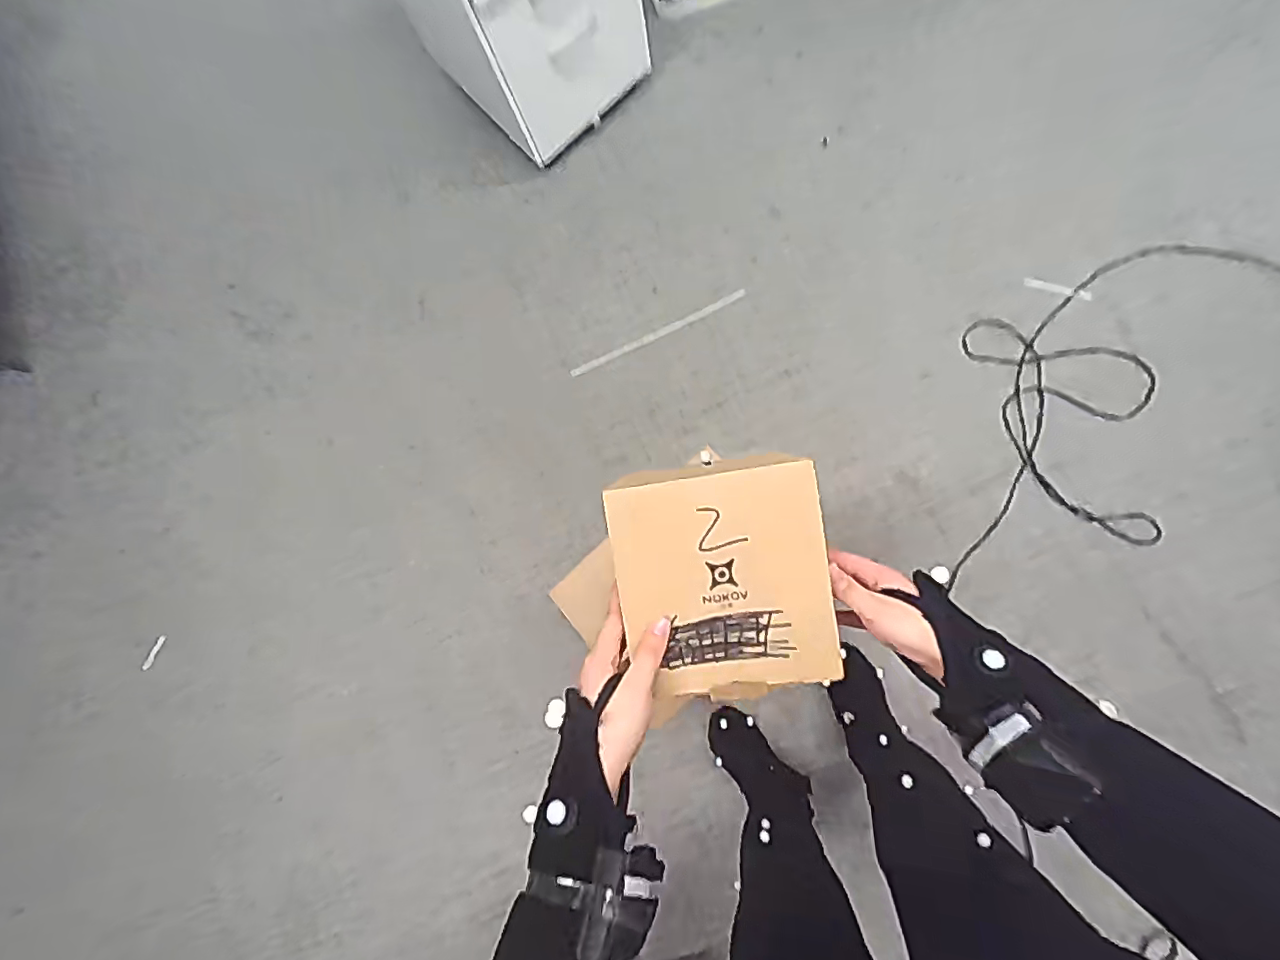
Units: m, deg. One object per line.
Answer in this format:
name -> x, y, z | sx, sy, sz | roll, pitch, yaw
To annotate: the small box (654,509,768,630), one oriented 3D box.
small box -> 0.116, 0.140, 0.872 | 0.168, 0.176, 0.179 | -2, 83, 8
